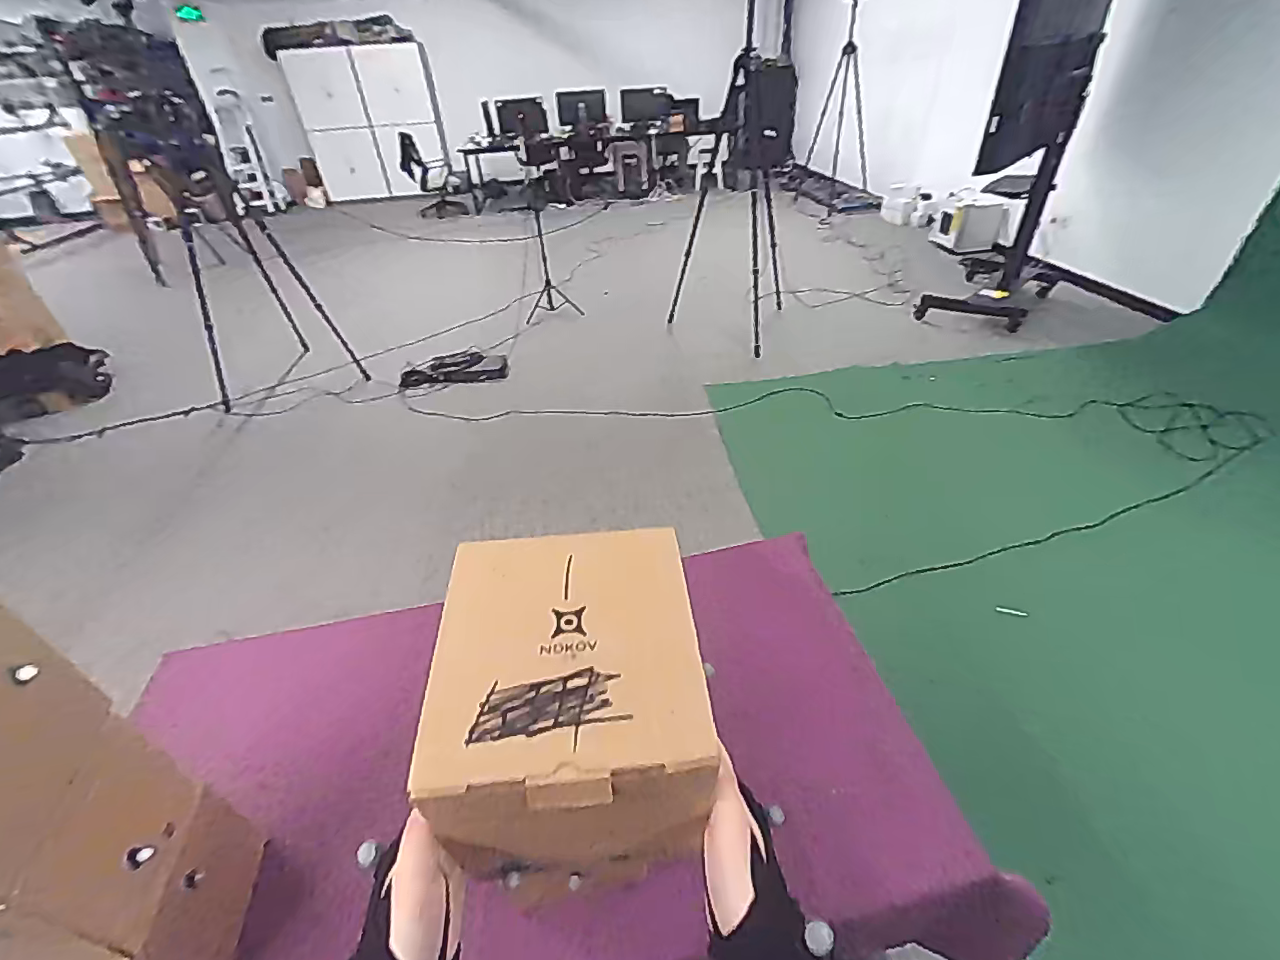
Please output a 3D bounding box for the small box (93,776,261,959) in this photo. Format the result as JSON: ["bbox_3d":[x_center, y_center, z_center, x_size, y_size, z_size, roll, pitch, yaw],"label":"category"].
[{"bbox_3d":[-0.573,0.477,0.612,0.168,0.176,0.179,-9,38,-8],"label":"small box"}]

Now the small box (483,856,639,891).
[{"bbox_3d":[-0.096,0.389,0.685,0.168,0.176,0.179,-9,39,-7],"label":"small box"}]

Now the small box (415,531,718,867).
[{"bbox_3d":[-0.043,0.161,0.399,0.168,0.176,0.179,-3,41,-4],"label":"small box"}]

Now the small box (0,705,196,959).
[{"bbox_3d":[-0.585,0.350,0.512,0.179,0.176,0.168,-10,39,-11],"label":"small box"}]
